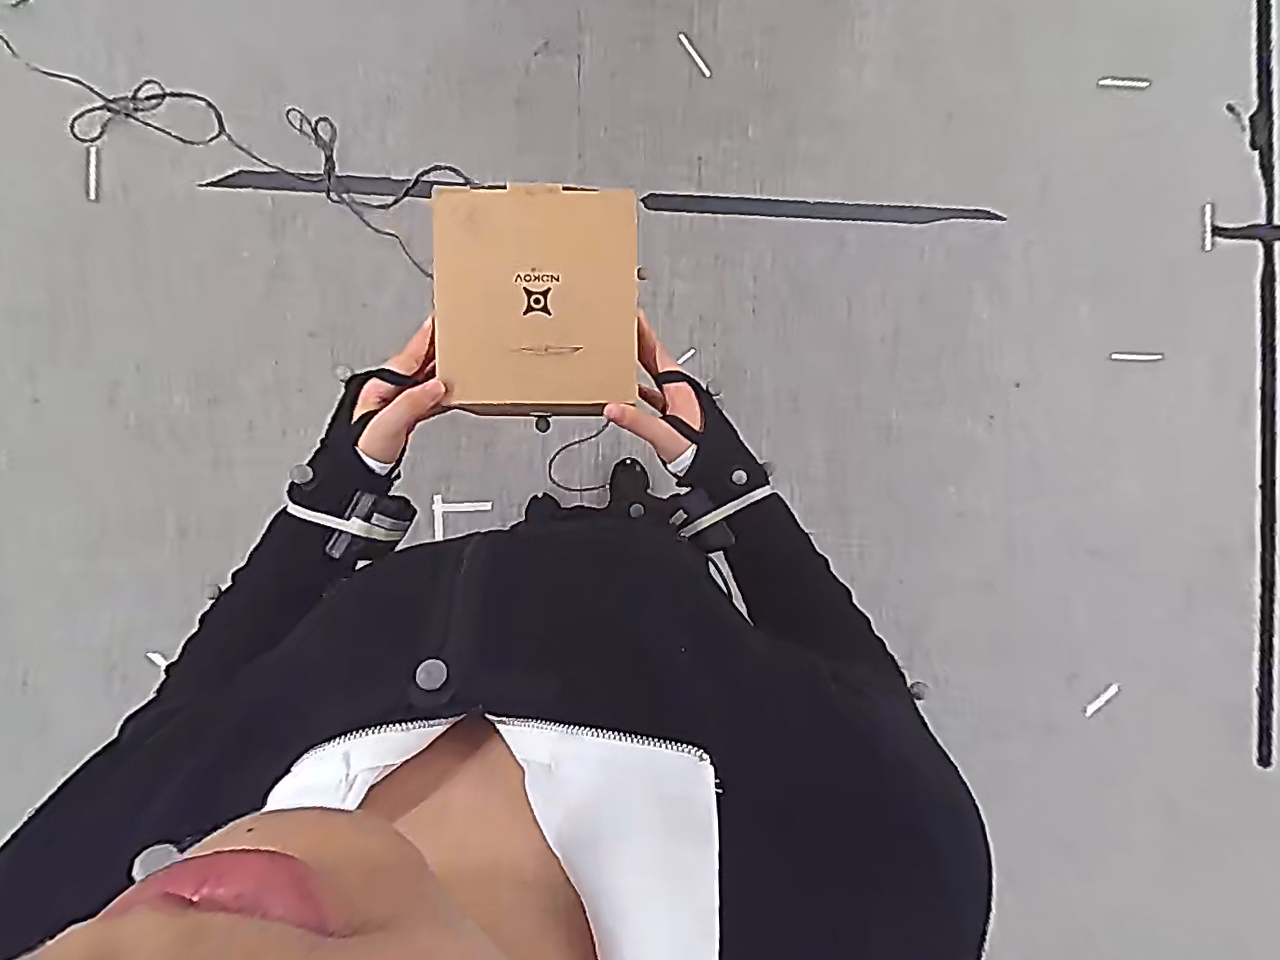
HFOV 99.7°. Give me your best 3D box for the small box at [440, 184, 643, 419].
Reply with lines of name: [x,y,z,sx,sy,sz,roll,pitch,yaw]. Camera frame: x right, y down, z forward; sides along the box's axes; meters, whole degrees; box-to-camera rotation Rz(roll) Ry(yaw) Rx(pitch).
small box: [-0.084,-0.154,0.519,0.168,0.176,0.179,-1,93,-3]
